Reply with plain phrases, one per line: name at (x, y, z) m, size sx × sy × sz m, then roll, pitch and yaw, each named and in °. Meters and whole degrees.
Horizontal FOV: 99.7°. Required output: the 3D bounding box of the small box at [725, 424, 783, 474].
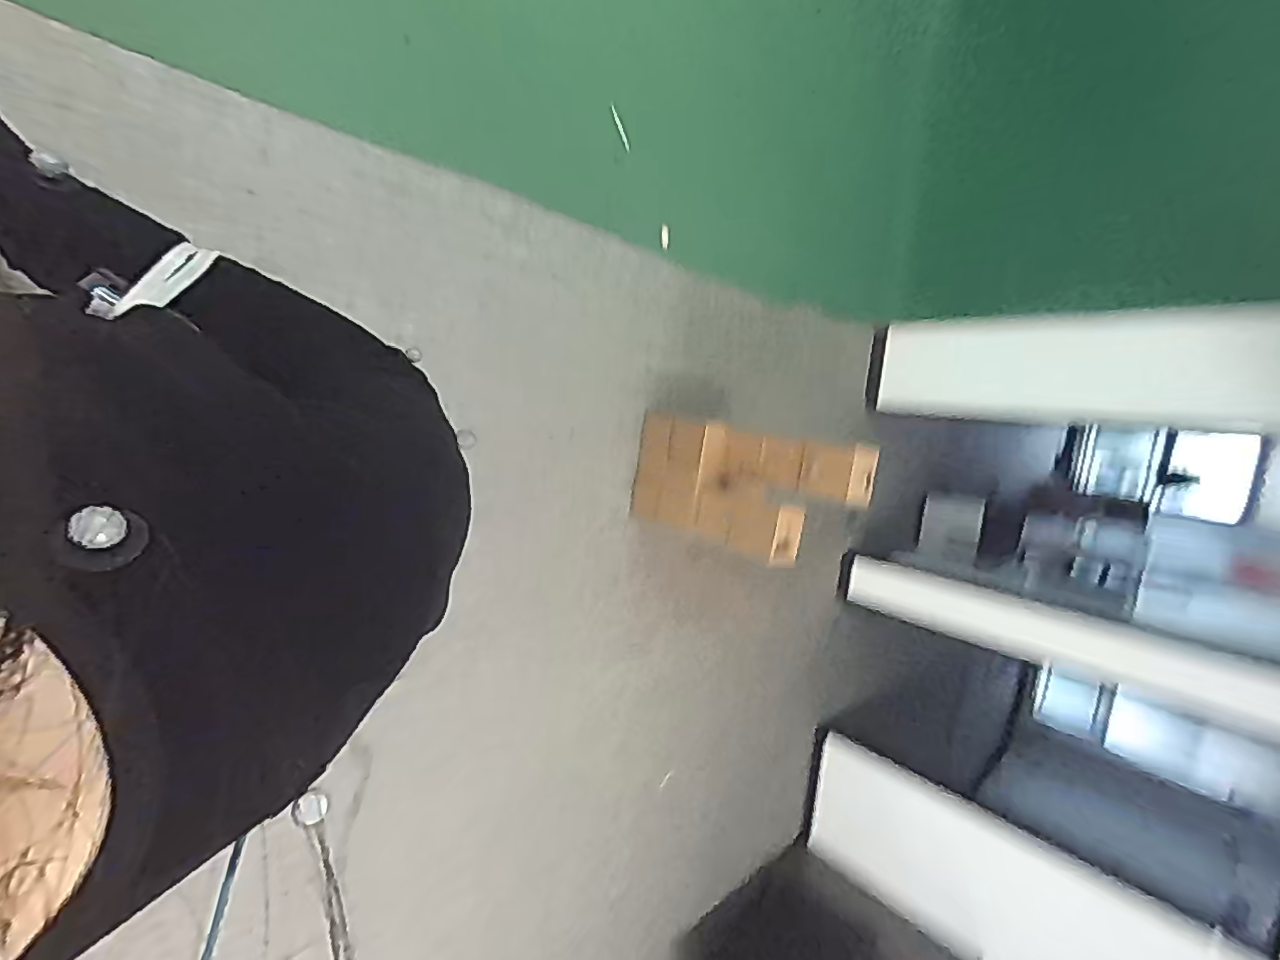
small box at (0.427, -0.110, 1.950) m, size 0.179 × 0.176 × 0.168 m, roll 2°, pitch 98°, yaw -46°

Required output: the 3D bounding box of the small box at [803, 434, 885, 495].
small box at (0.645, -0.051, 1.714) m, size 0.179 × 0.176 × 0.168 m, roll 3°, pitch 97°, yaw -44°

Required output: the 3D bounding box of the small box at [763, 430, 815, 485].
small box at (0.542, -0.077, 1.838) m, size 0.179 × 0.176 × 0.168 m, roll 3°, pitch 98°, yaw -43°

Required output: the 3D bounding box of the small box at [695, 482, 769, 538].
small box at (0.321, 0.103, 1.892) m, size 0.179 × 0.176 × 0.168 m, roll 5°, pitch 96°, yaw -46°
